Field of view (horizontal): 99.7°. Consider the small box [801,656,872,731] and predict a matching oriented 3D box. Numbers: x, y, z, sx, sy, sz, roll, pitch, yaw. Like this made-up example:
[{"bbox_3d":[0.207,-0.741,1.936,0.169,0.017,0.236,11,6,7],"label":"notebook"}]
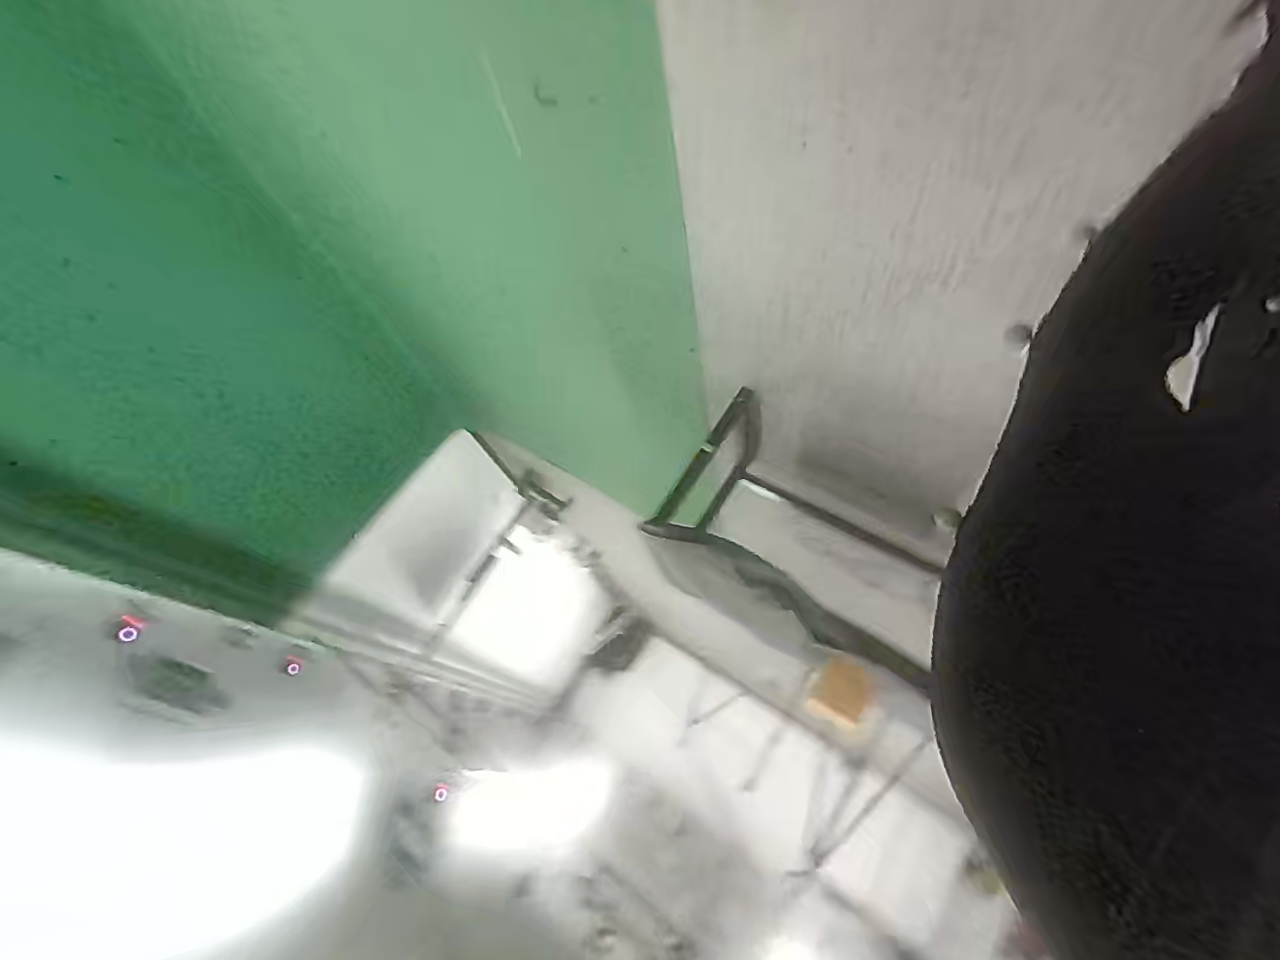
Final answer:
[{"bbox_3d":[0.679,0.738,1.870,0.168,0.176,0.179,28,160,24],"label":"small box"}]
